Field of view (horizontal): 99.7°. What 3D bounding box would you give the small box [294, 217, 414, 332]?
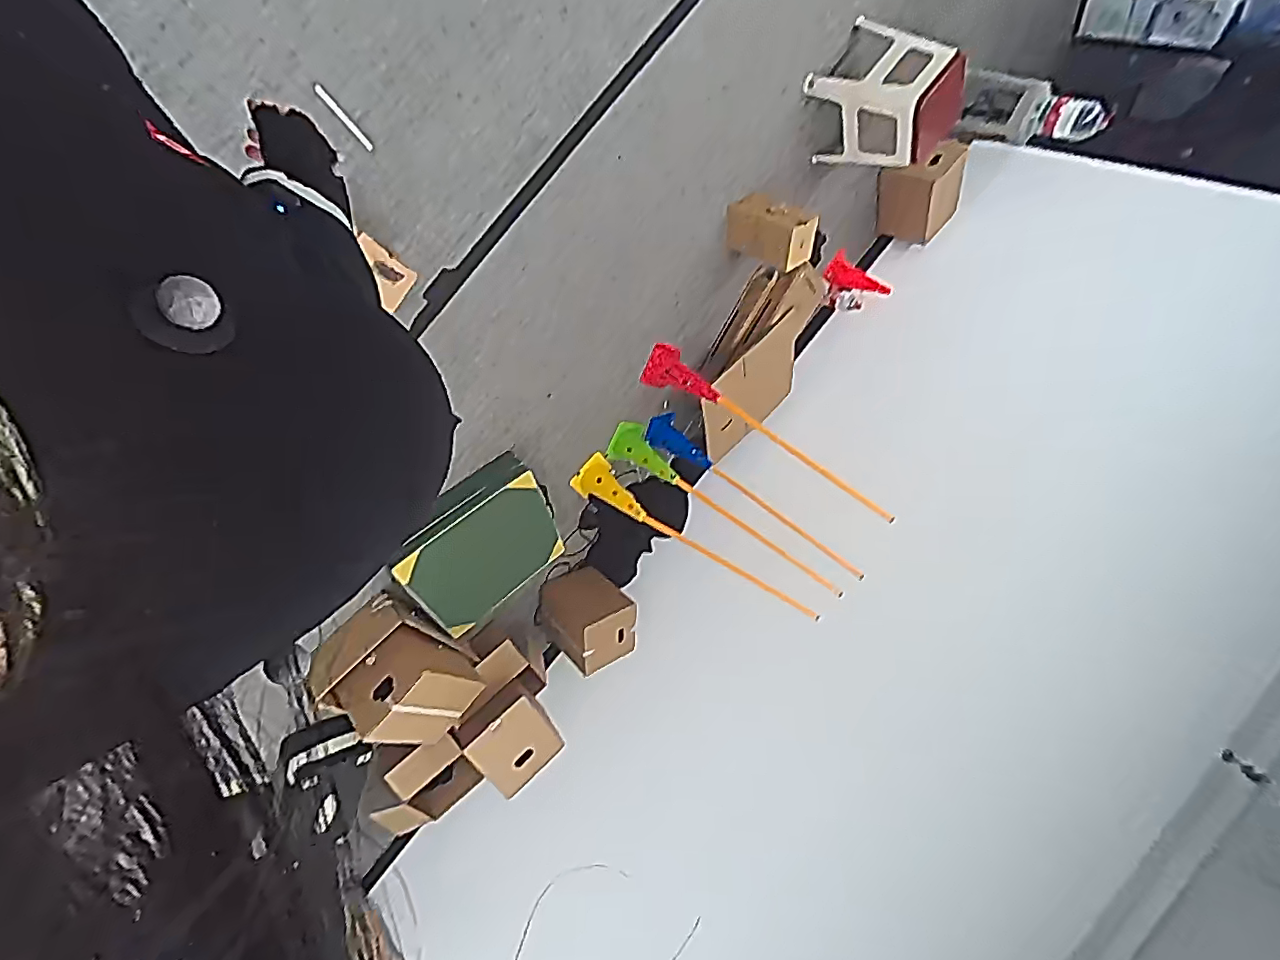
[{"bbox_3d":[-0.697,-0.500,1.312,0.179,0.176,0.168,-53,149,2],"label":"small box"}]
